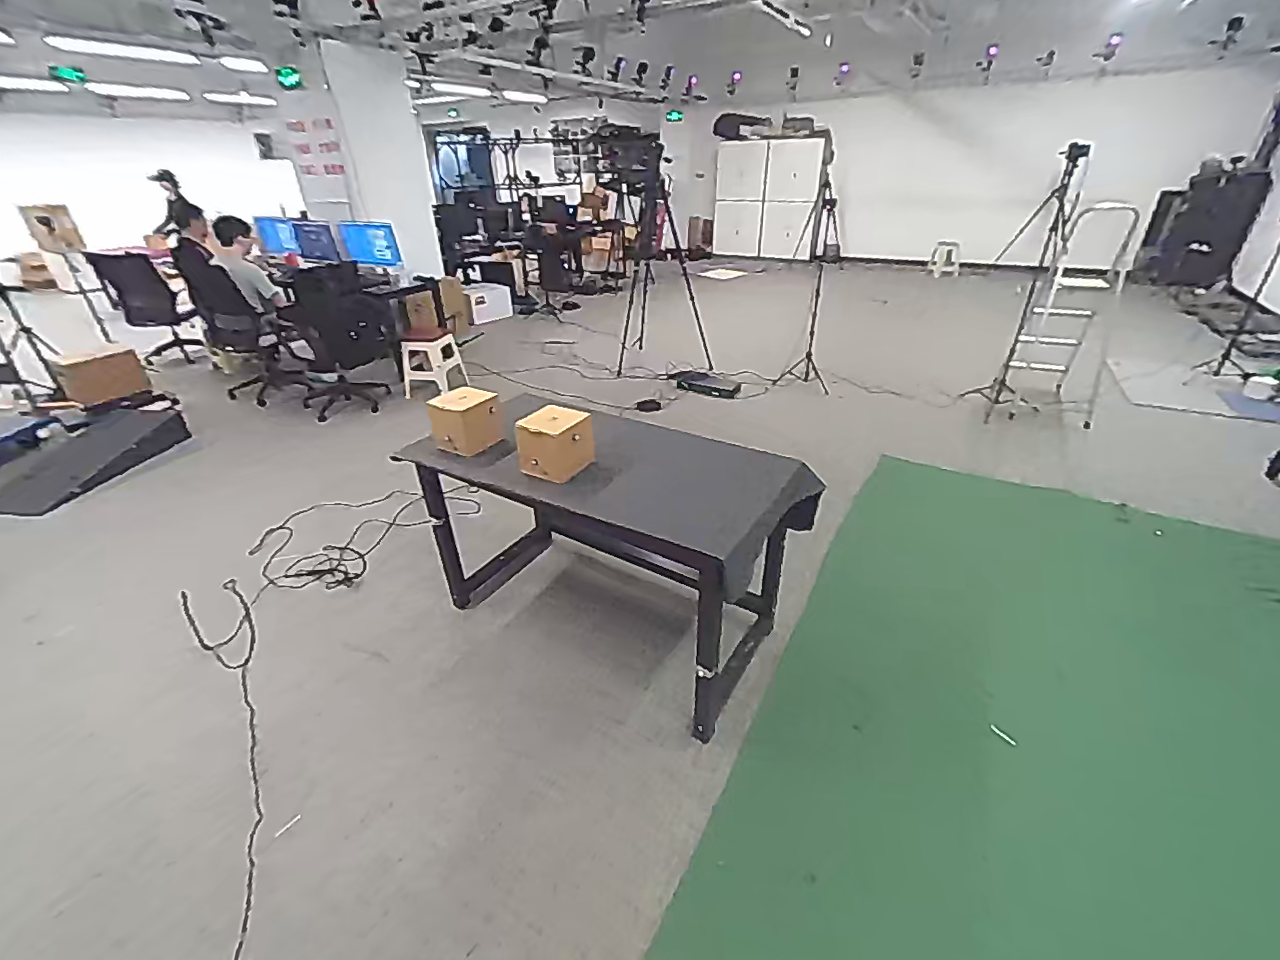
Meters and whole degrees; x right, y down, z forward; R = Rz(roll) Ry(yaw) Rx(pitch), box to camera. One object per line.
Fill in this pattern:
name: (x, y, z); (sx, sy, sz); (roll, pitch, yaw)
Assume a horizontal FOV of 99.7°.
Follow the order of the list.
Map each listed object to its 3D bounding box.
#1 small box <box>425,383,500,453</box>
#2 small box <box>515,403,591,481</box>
small box: (-0.595, -0.212, 1.839); (0.168, 0.176, 0.179); (16, 34, 26)
small box: (-0.267, -0.120, 1.683); (0.168, 0.176, 0.179); (17, 35, 26)
